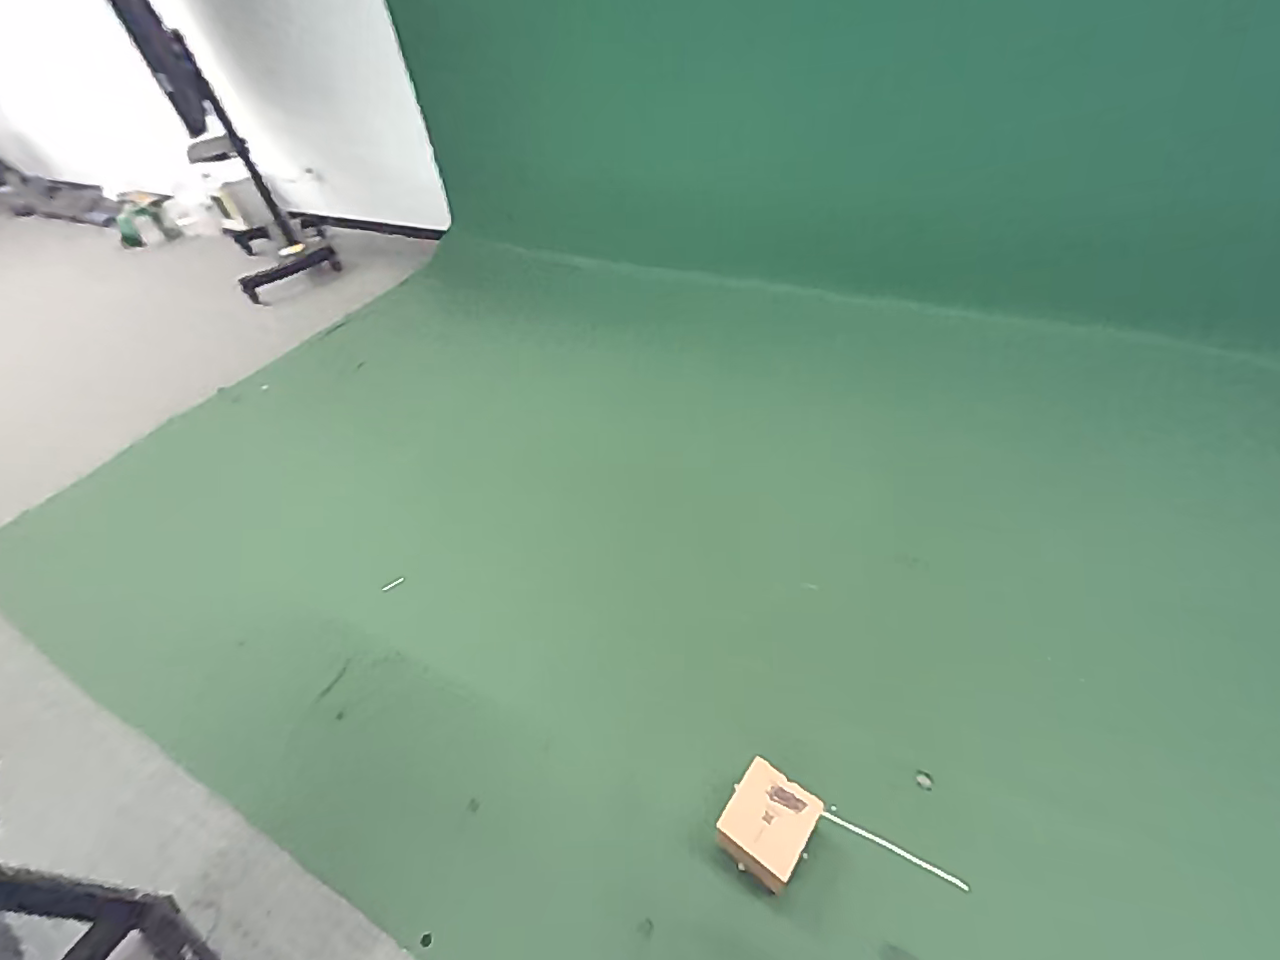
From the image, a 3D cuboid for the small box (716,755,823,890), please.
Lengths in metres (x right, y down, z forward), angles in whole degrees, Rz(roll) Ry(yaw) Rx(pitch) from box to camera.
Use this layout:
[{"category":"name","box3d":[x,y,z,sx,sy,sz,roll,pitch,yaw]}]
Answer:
[{"category":"small box","box3d":[0.279,0.756,1.192,0.168,0.176,0.179,27,55,29]}]
